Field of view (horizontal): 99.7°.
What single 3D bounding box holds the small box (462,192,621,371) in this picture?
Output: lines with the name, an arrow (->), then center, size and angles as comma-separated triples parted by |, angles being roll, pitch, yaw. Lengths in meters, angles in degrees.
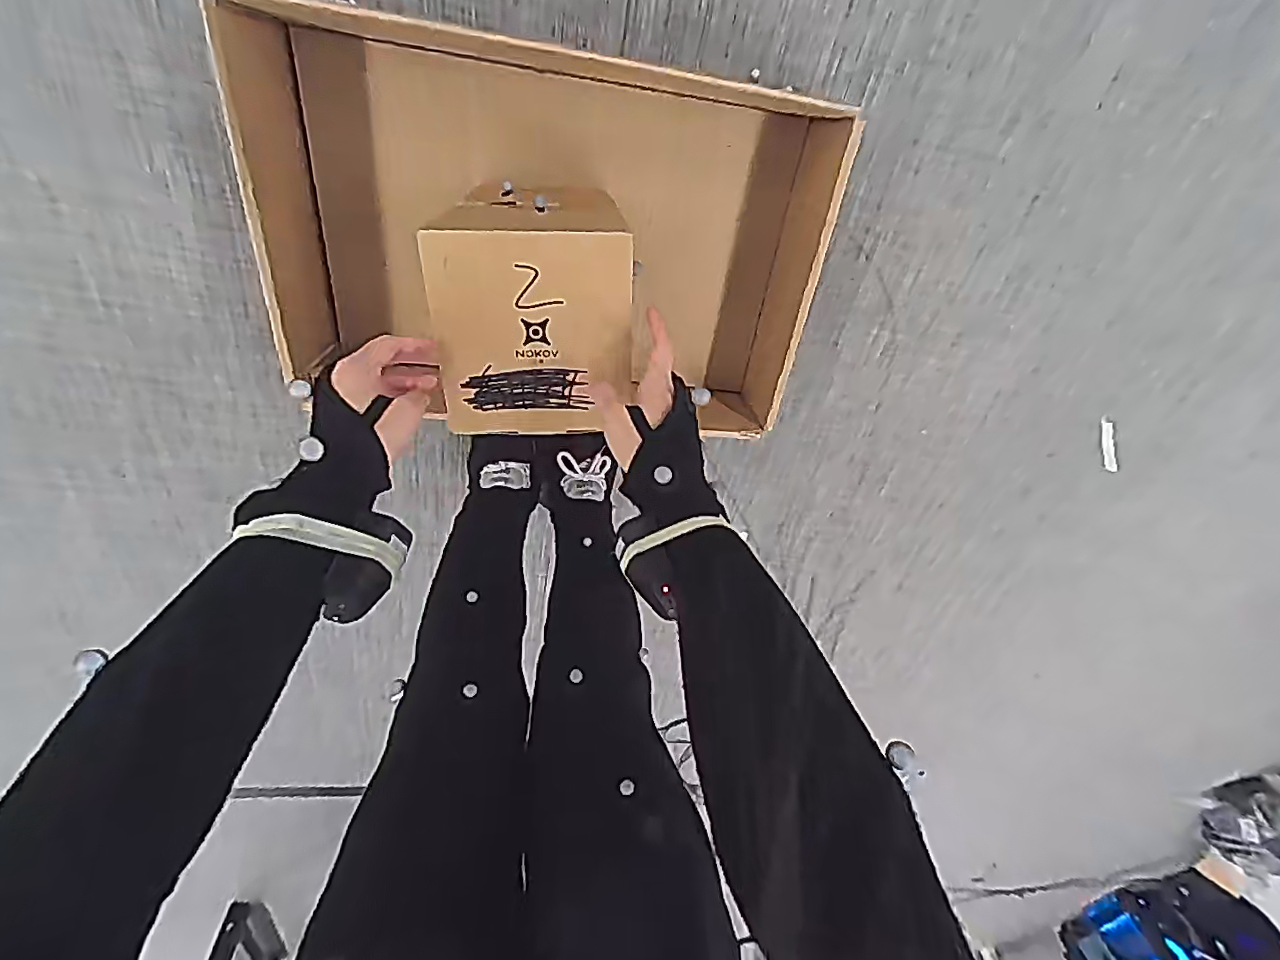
small box -> -0.115, -0.248, 0.666 | 0.168, 0.176, 0.179 | -1, 125, -7
